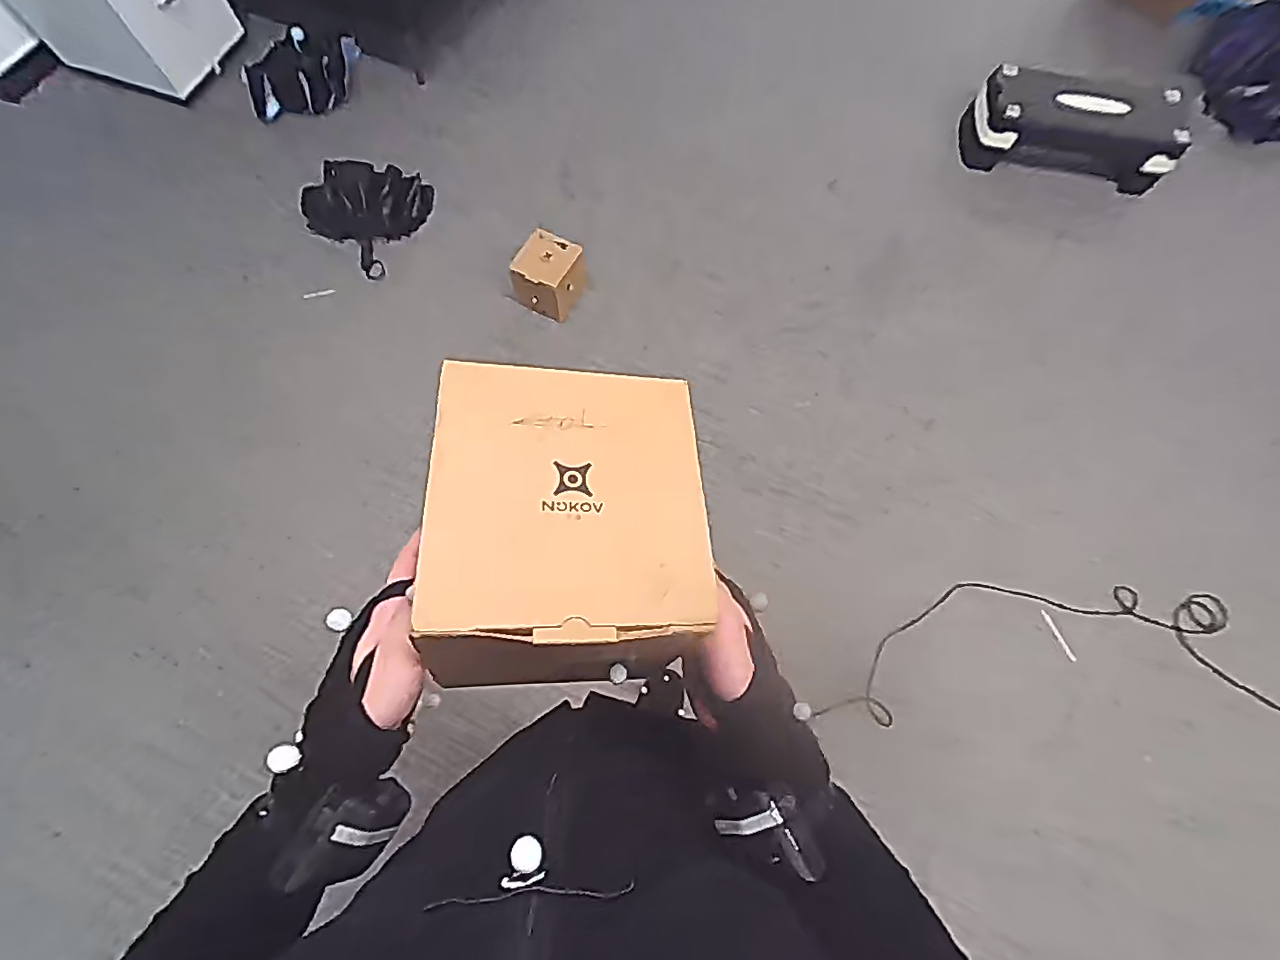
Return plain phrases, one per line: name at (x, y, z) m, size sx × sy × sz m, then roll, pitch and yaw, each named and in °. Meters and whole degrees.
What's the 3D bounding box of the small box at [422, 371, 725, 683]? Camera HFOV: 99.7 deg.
small box at (-0.053, 0.047, 0.395) m, size 0.168 × 0.176 × 0.179 m, roll 2°, pitch 60°, yaw -14°
